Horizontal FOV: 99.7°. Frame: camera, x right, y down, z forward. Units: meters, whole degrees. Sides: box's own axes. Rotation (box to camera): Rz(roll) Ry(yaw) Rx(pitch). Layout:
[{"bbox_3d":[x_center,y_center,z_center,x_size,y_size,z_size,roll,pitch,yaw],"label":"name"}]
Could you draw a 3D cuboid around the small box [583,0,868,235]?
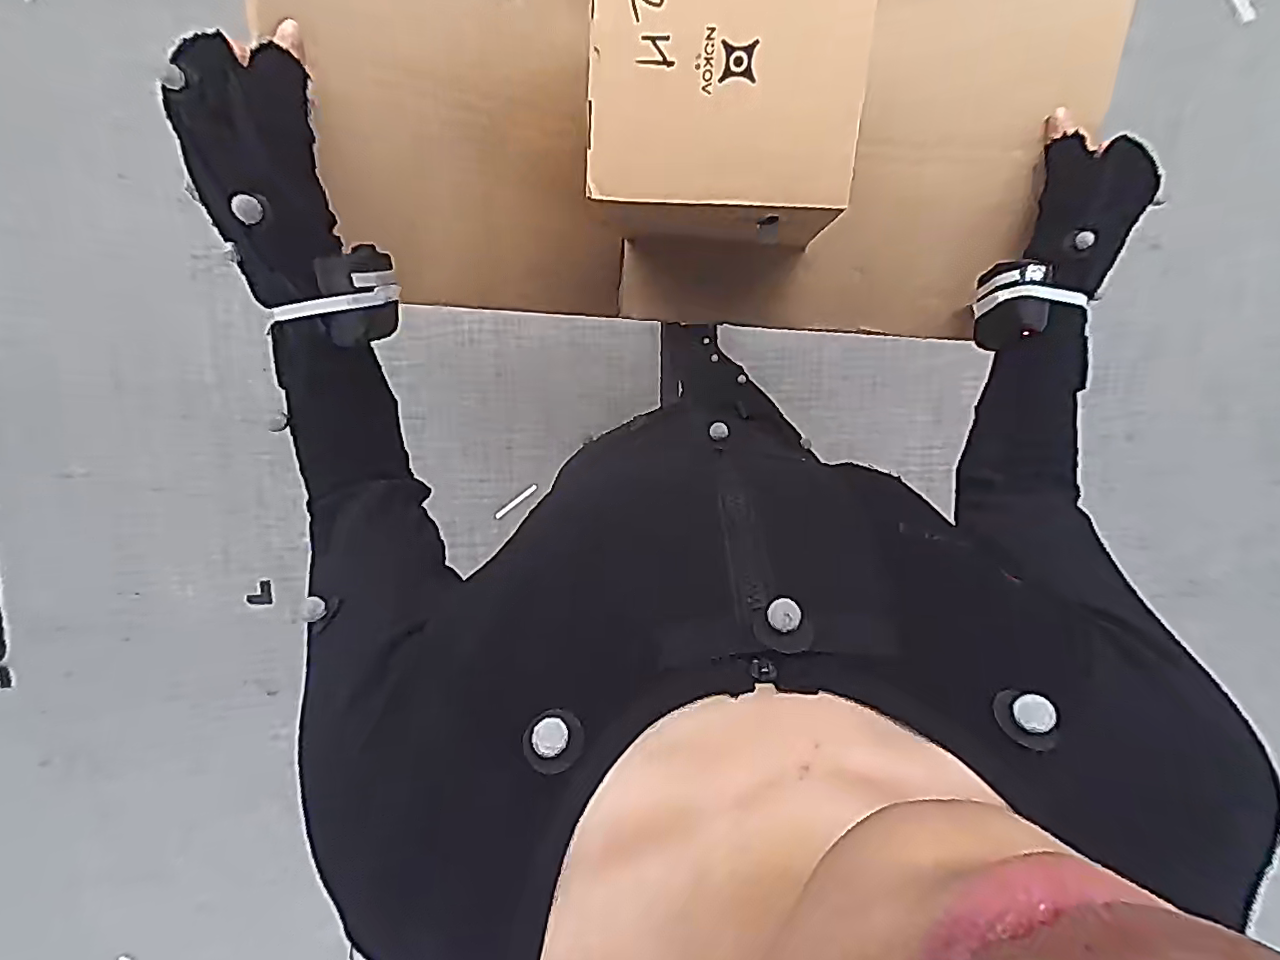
[{"bbox_3d":[0.062,-0.295,0.424,0.179,0.176,0.168,6,106,7],"label":"small box"}]
